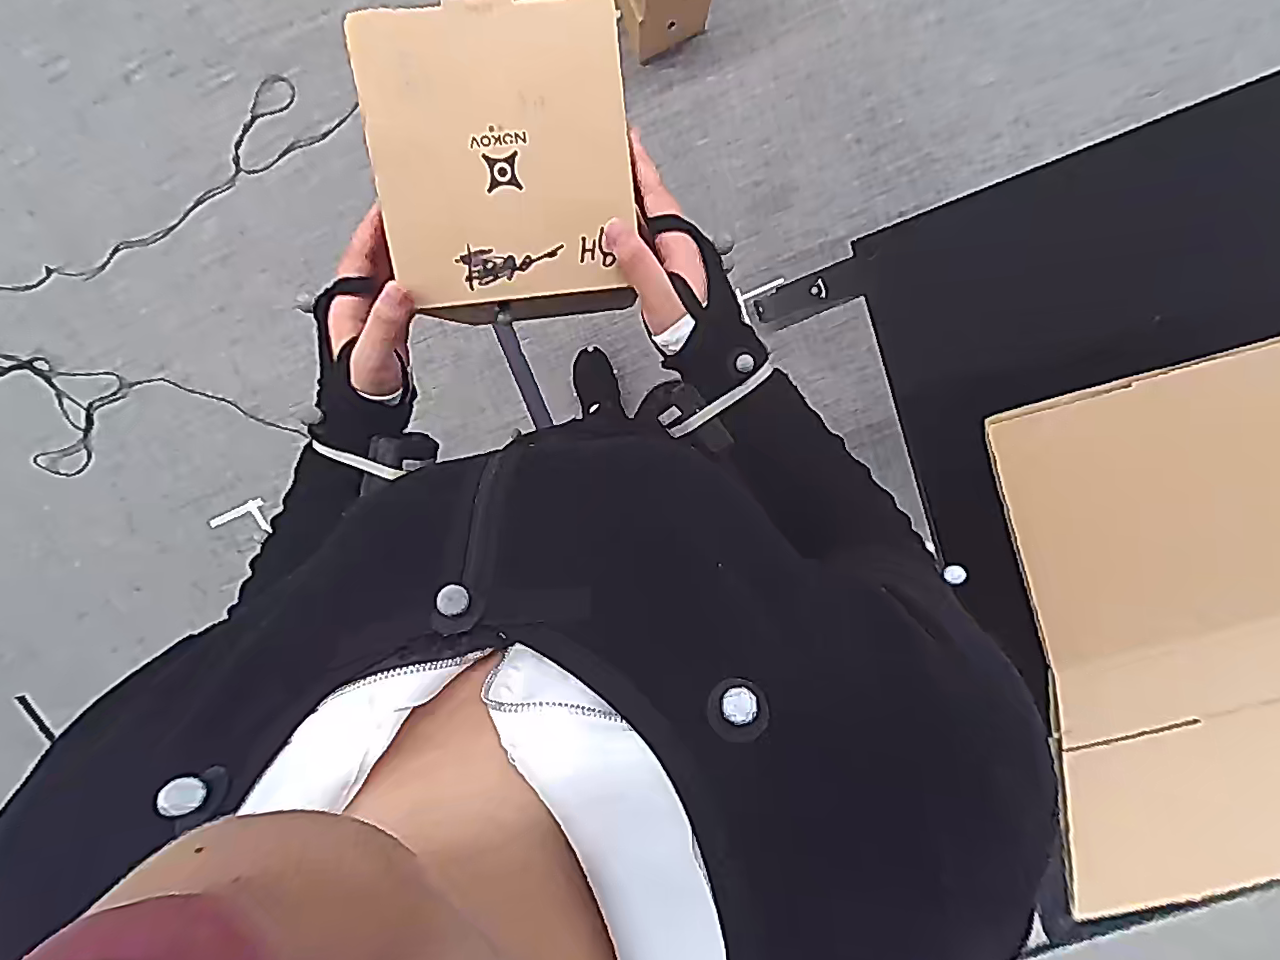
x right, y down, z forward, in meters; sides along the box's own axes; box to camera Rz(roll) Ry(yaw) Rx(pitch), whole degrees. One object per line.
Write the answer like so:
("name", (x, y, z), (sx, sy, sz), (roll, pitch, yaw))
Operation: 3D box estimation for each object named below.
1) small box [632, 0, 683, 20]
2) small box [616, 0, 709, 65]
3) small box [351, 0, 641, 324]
("small box", (0.043, -1.026, 1.012), (0.179, 0.176, 0.168), (-28, 103, 5))
("small box", (0.037, -1.059, 1.171), (0.179, 0.176, 0.168), (-24, 102, 6))
("small box", (-0.093, -0.226, 0.424), (0.168, 0.176, 0.179), (-6, 102, -2))
